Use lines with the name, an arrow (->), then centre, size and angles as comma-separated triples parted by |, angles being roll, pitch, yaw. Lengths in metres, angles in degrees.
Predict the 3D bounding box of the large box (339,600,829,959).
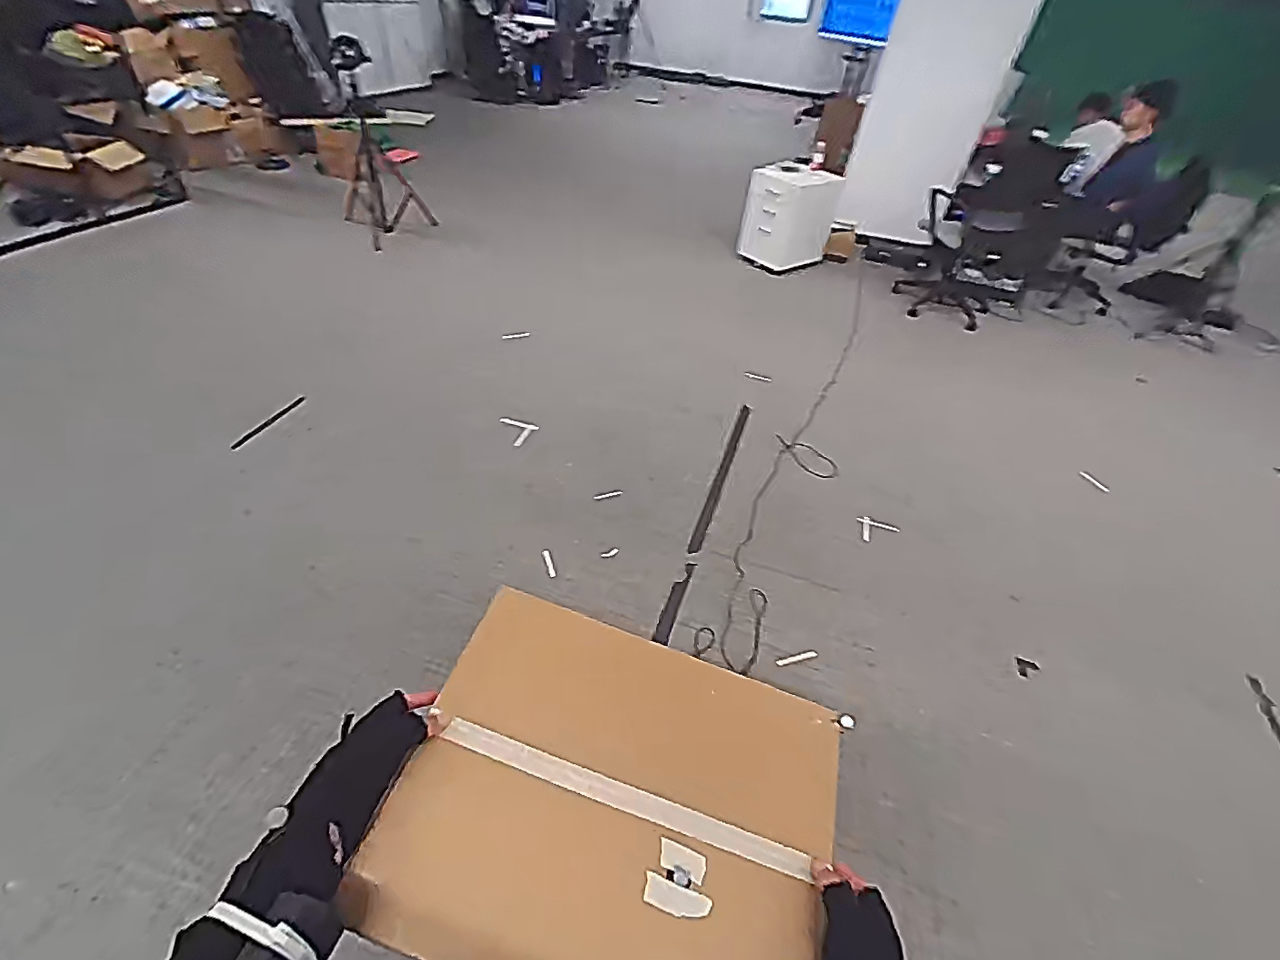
large box -> -0.044, 0.401, 0.632 | 0.408, 0.320, 0.320 | 20, 50, 4
